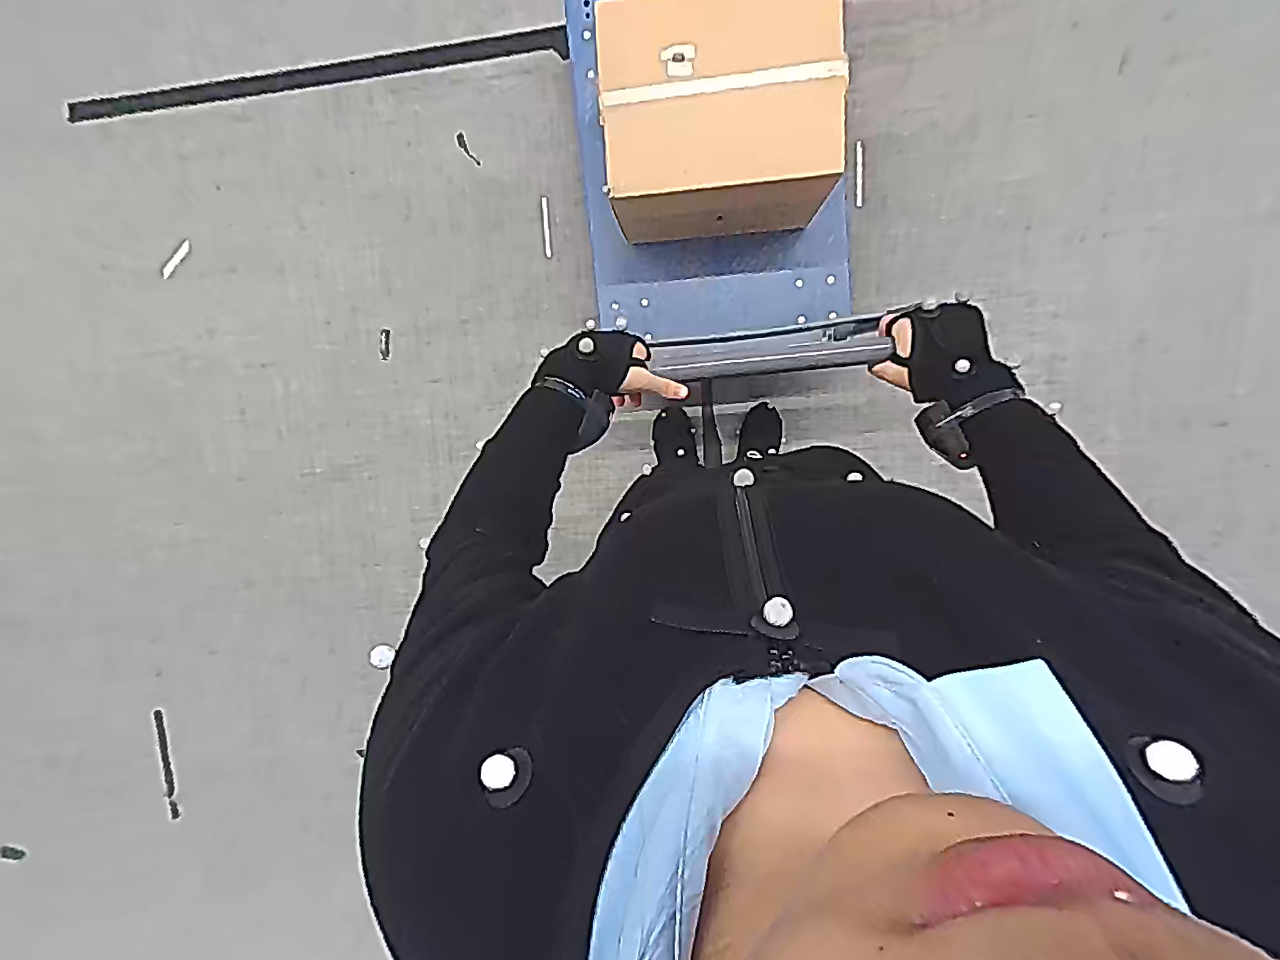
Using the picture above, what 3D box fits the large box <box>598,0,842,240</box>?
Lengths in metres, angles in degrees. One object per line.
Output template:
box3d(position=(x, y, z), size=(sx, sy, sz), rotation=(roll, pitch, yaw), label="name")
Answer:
box3d(position=(0.152, -0.691, 1.064), size=(0.408, 0.320, 0.320), rotation=(-3, 98, 7), label="large box")
